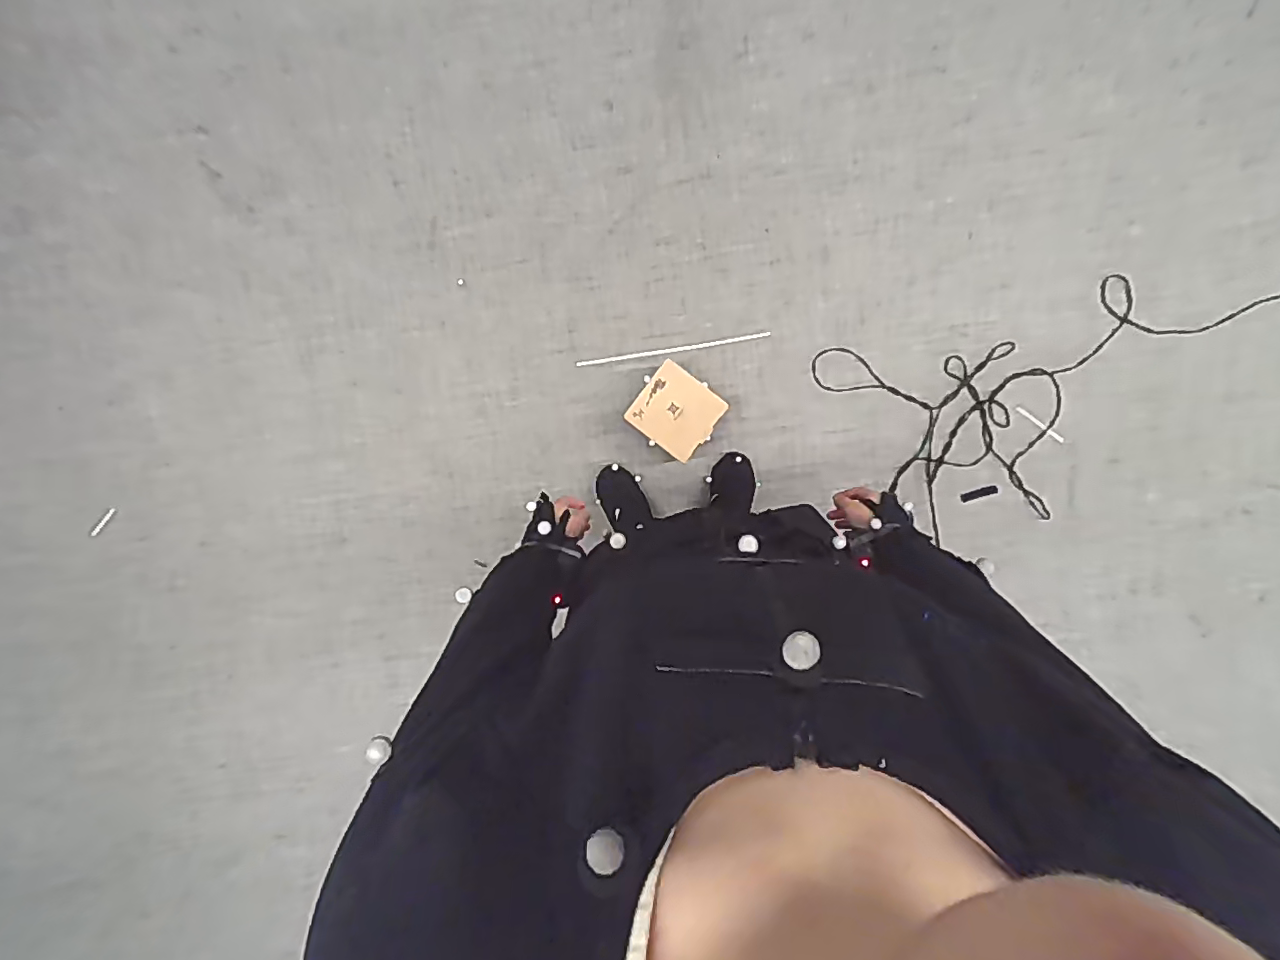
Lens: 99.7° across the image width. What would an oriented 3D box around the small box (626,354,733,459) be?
[{"bbox_3d":[0.090,-0.170,1.255,0.179,0.176,0.168,38,96,-2],"label":"small box"}]
